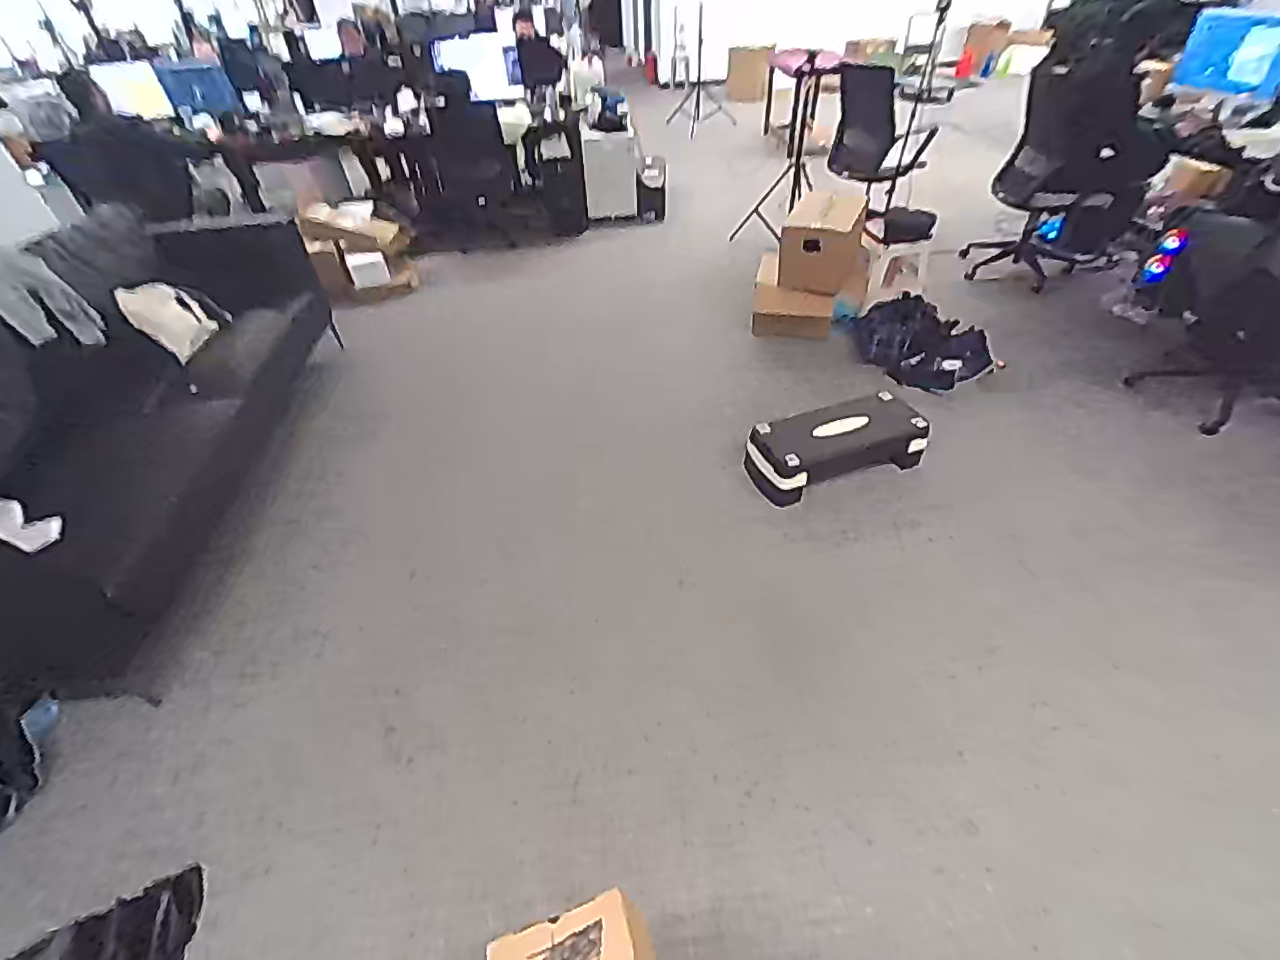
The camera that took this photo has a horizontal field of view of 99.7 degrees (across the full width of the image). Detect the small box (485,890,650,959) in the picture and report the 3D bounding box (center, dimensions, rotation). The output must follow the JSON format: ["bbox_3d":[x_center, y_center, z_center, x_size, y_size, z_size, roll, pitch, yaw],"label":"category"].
[{"bbox_3d":[-0.067,0.625,0.626,0.168,0.176,0.179,-19,42,-6],"label":"small box"}]
